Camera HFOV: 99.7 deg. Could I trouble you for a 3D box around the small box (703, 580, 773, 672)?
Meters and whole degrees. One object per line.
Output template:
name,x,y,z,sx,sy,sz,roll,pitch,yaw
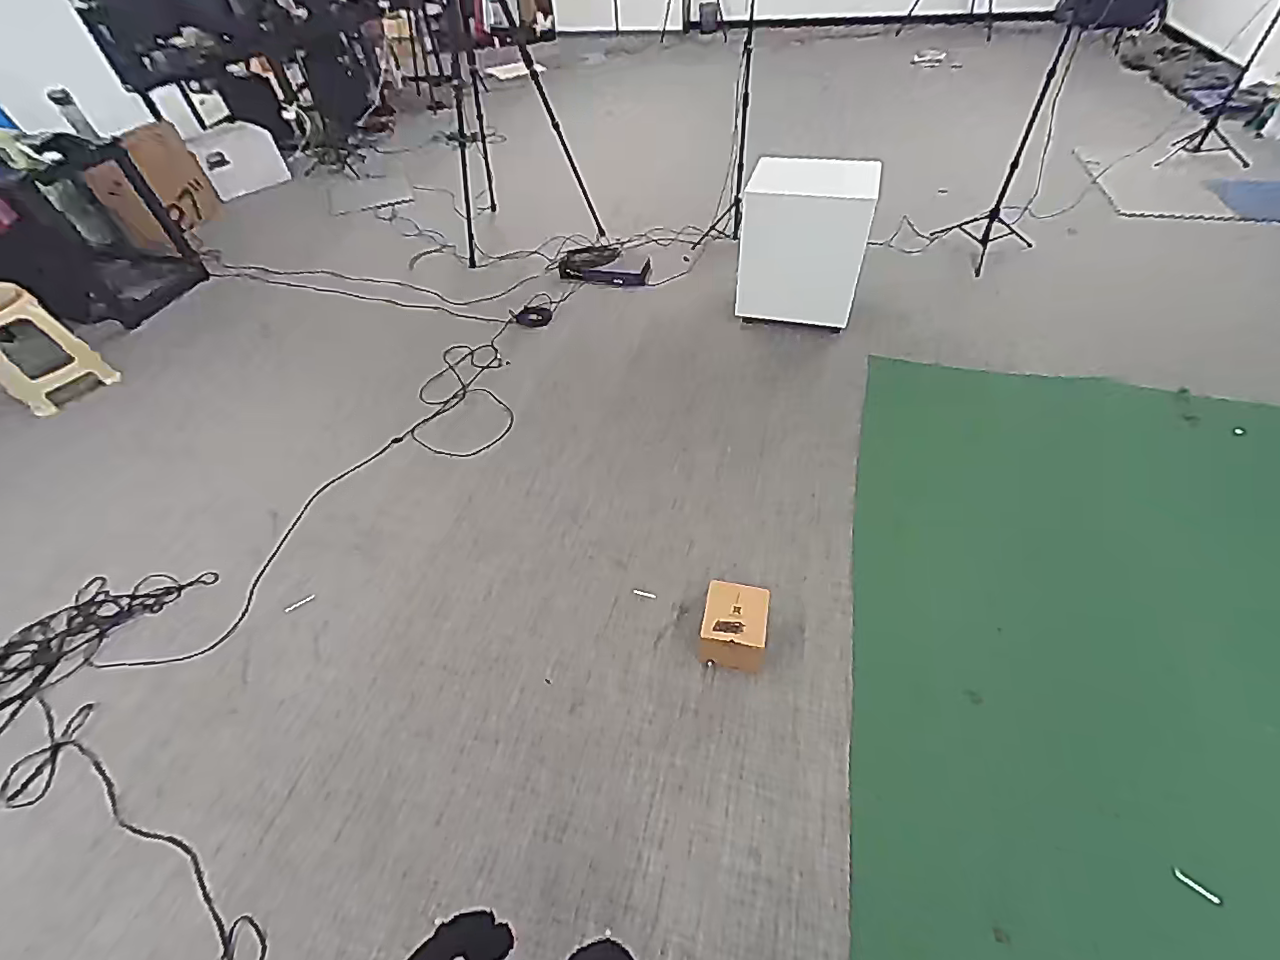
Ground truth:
small box,0.267,0.402,1.480,0.168,0.176,0.179,8,49,12
